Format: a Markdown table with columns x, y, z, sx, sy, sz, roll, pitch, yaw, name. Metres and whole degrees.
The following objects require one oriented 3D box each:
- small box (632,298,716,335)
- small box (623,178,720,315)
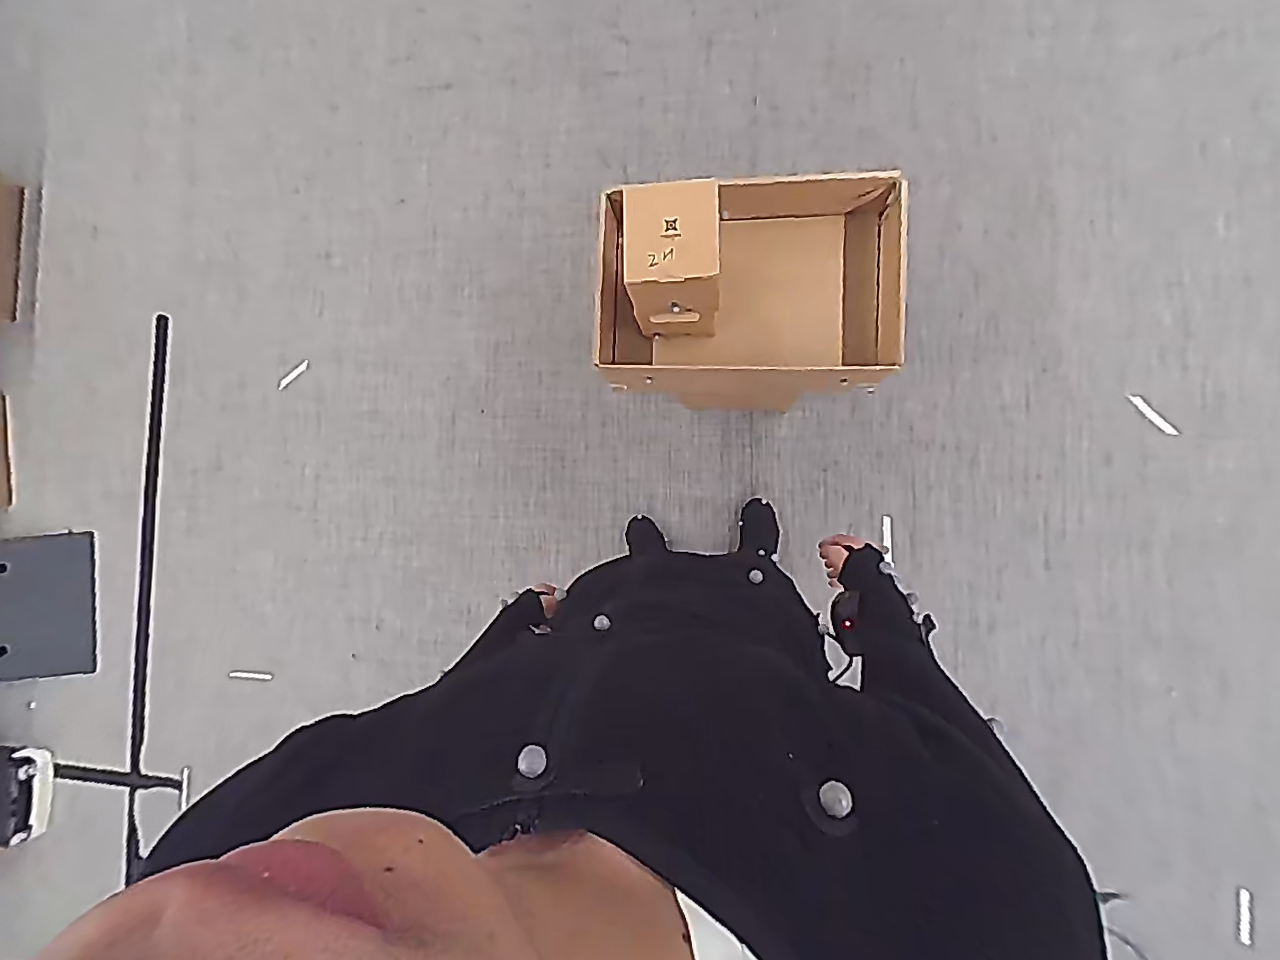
| x | y | z | sx | sy | sz | roll | pitch | yaw | name |
| --- | --- | --- | --- | --- | --- | --- | --- | --- | --- |
| 0.079 | -0.419 | 1.164 | 0.168 | 0.176 | 0.179 | 1 | 86 | 8 | small box |
| 0.063 | -0.422 | 1.001 | 0.168 | 0.176 | 0.179 | -1 | 87 | 9 | small box |
